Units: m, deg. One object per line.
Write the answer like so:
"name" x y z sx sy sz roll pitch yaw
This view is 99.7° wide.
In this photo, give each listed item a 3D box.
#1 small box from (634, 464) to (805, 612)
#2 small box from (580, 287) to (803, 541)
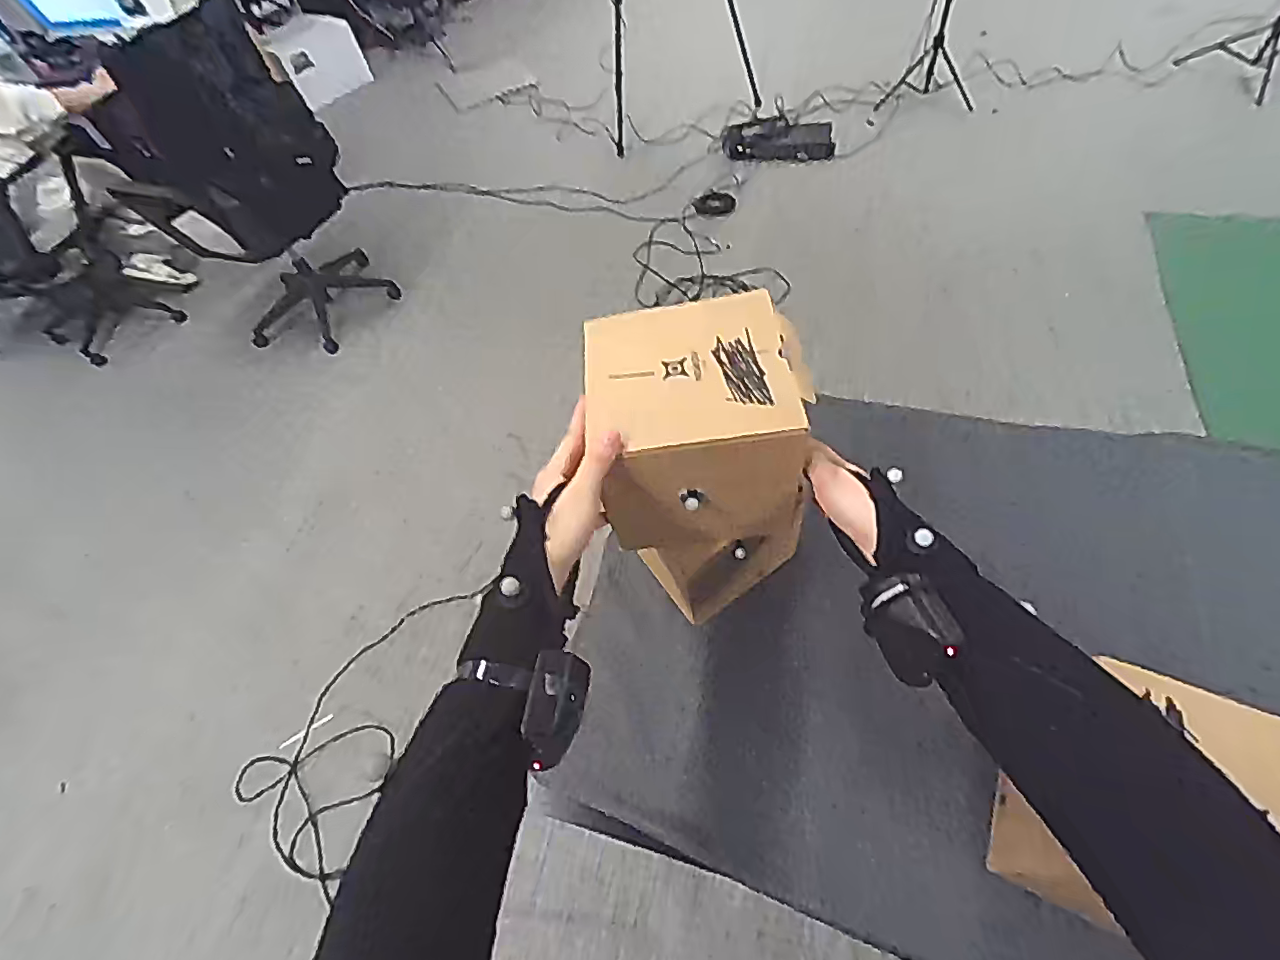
"small box" 0.074 0.030 0.664 0.168 0.176 0.179 -33 57 -11
"small box" 0.047 -0.055 0.525 0.179 0.176 0.168 -8 56 7
